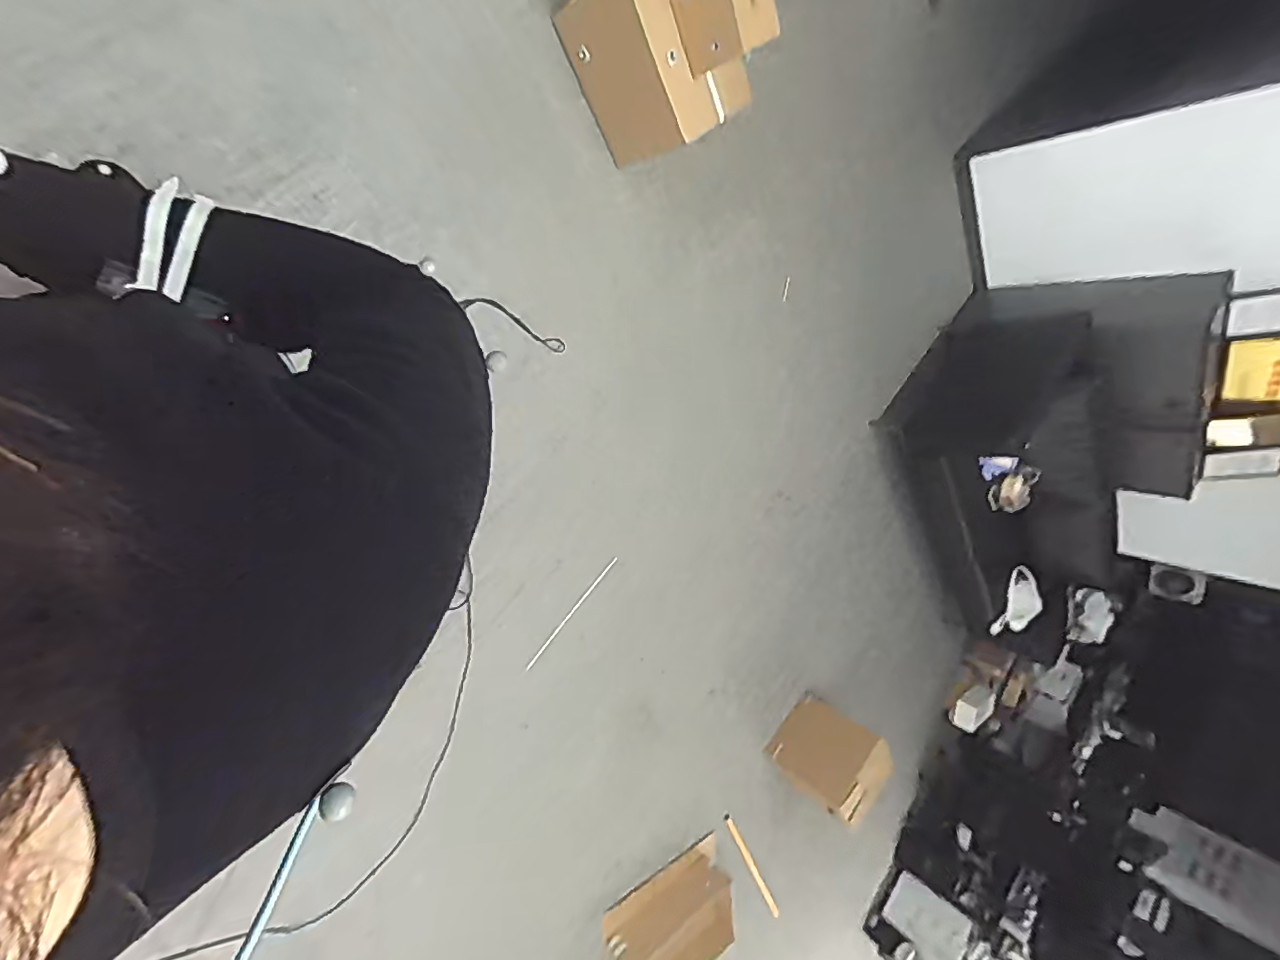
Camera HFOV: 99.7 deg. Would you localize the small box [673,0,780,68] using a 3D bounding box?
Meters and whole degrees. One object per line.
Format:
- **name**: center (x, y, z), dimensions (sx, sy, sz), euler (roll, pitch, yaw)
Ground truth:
- **small box**: center (0.209, -1.146, 1.322), dimensions (0.168, 0.176, 0.179), euler (-44, 125, -25)
